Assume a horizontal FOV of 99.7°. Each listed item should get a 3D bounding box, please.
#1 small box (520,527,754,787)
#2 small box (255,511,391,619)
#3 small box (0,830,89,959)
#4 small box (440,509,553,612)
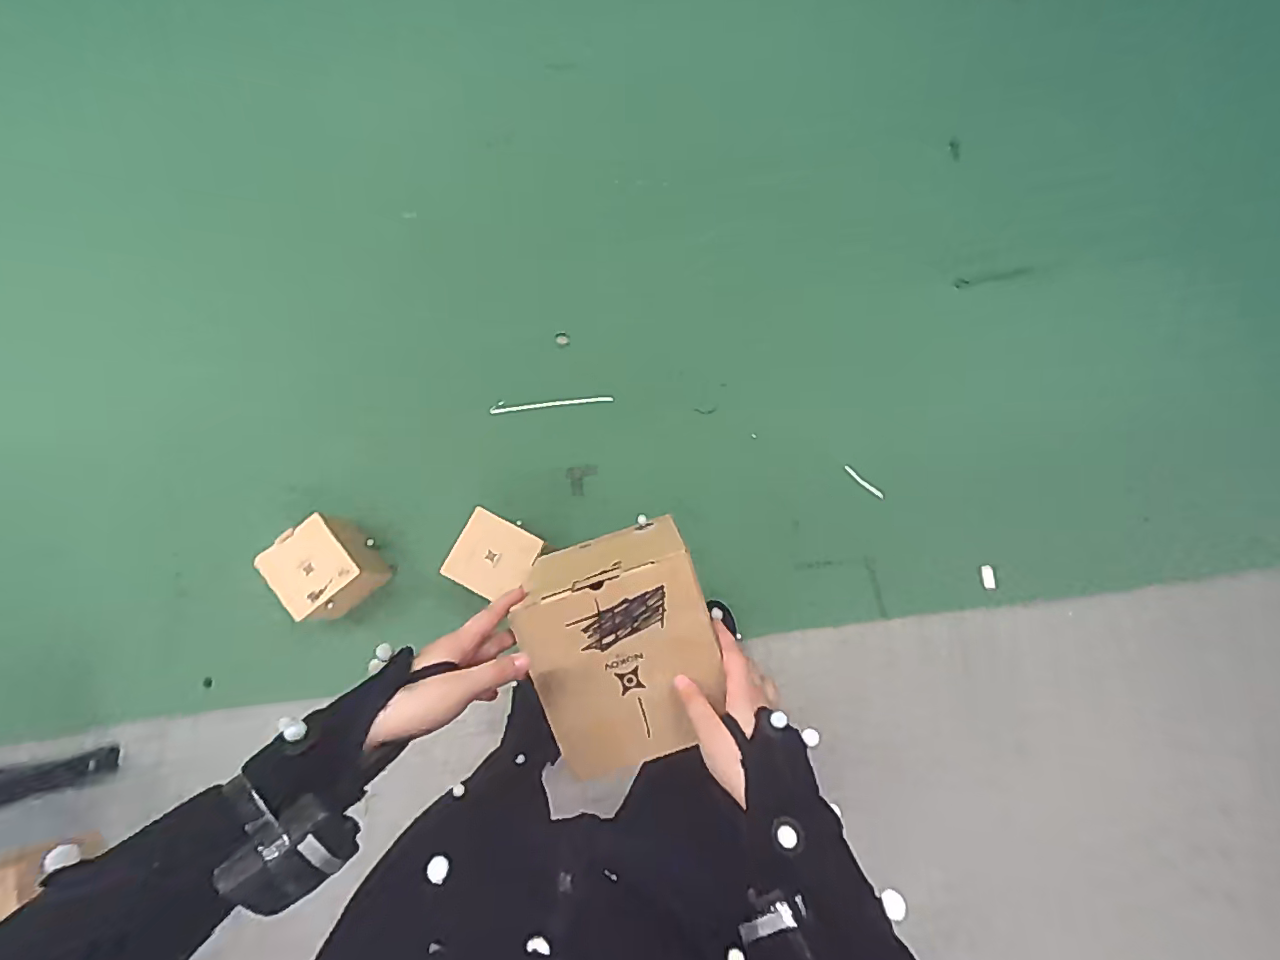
[{"bbox_3d":[-0.005,0.158,0.550,0.168,0.176,0.179,-20,98,0],"label":"small box"},{"bbox_3d":[-0.713,0.198,1.235,0.168,0.176,0.179,-39,81,-7],"label":"small box"},{"bbox_3d":[-1.281,0.846,1.098,0.179,0.176,0.168,-12,79,-3],"label":"small box"},{"bbox_3d":[-0.317,0.187,1.241,0.179,0.176,0.168,27,79,5],"label":"small box"}]
